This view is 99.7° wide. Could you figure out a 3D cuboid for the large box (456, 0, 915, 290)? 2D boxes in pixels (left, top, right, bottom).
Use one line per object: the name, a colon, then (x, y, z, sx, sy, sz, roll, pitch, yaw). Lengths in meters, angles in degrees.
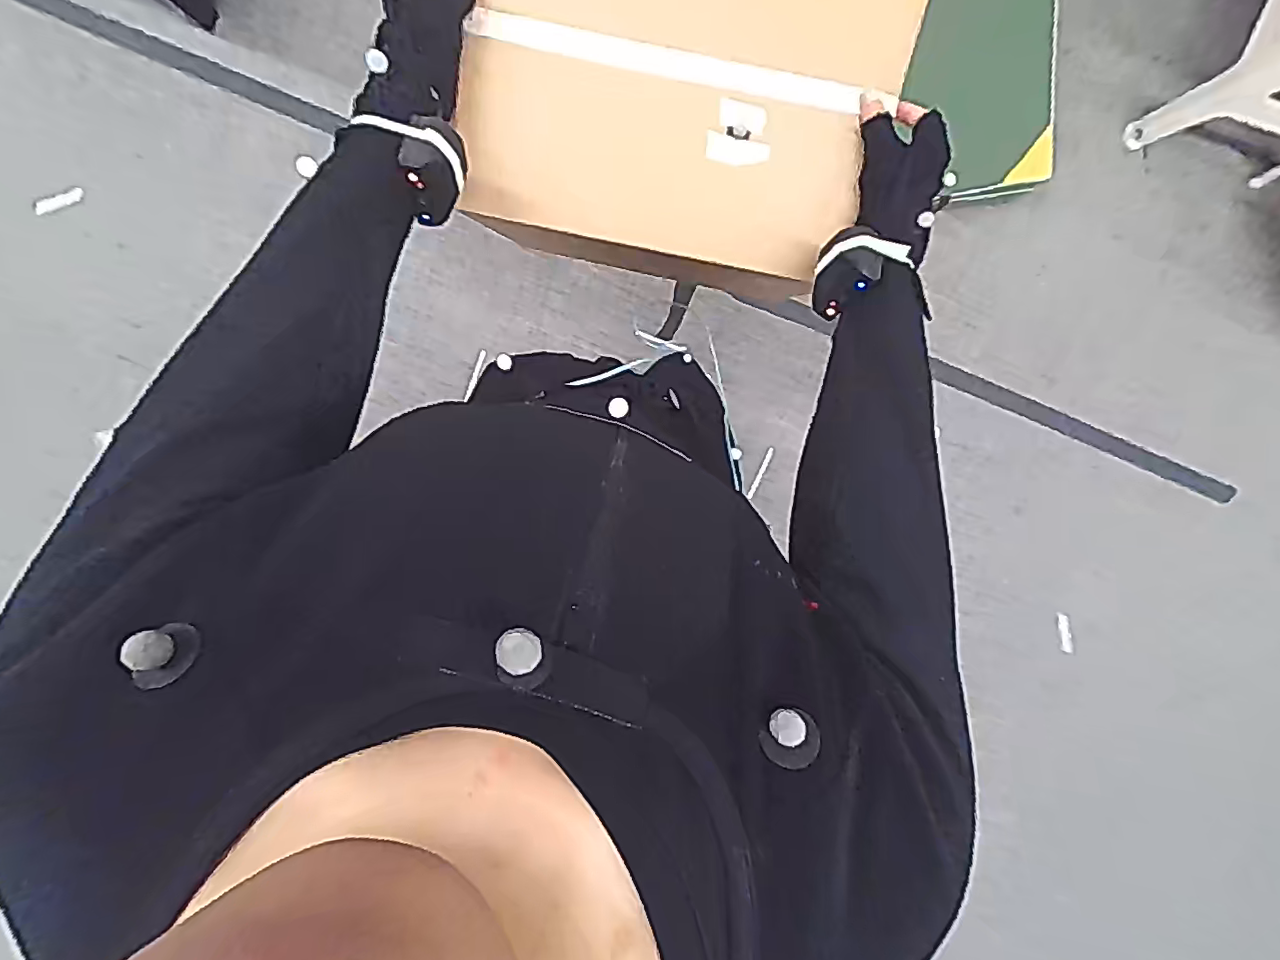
large box: (0.038, -0.427, 0.643, 0.408, 0.320, 0.320, 11, 108, -2)
